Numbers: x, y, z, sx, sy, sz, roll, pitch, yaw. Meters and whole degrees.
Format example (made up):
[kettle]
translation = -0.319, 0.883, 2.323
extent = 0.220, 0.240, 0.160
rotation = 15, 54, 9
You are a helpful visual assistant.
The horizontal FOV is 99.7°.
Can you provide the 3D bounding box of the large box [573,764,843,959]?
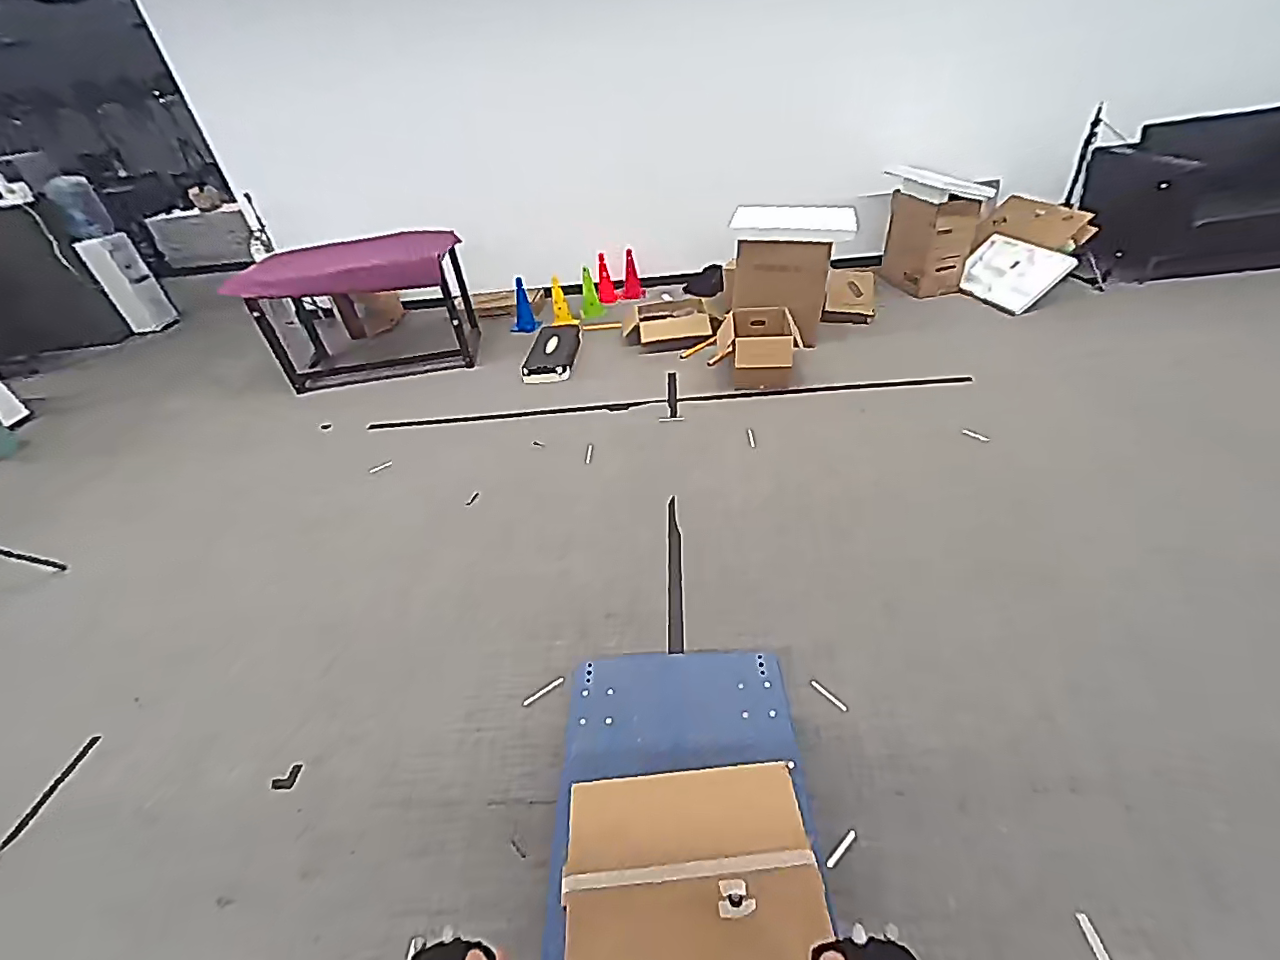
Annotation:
[large box]
translation = 0.099, 0.762, 0.973
extent = 0.408, 0.320, 0.320
rotation = -6, 38, 0
